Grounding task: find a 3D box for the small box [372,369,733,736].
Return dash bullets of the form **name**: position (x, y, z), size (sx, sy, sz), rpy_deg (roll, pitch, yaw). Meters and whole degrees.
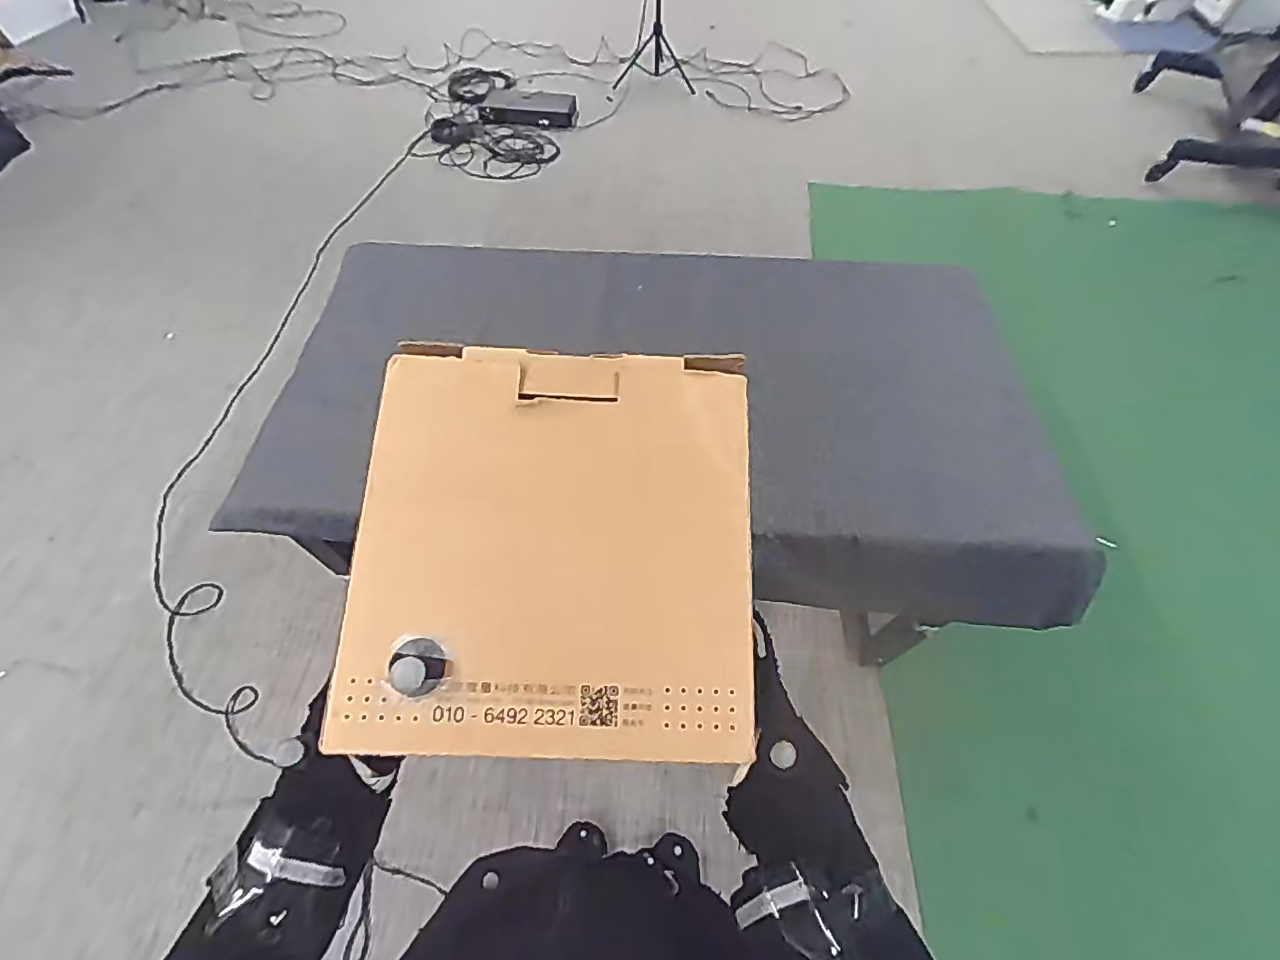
- **small box**: position (-0.041, 0.050, 0.326), size (0.168, 0.179, 0.176), rpy_deg (3, 73, -2)
